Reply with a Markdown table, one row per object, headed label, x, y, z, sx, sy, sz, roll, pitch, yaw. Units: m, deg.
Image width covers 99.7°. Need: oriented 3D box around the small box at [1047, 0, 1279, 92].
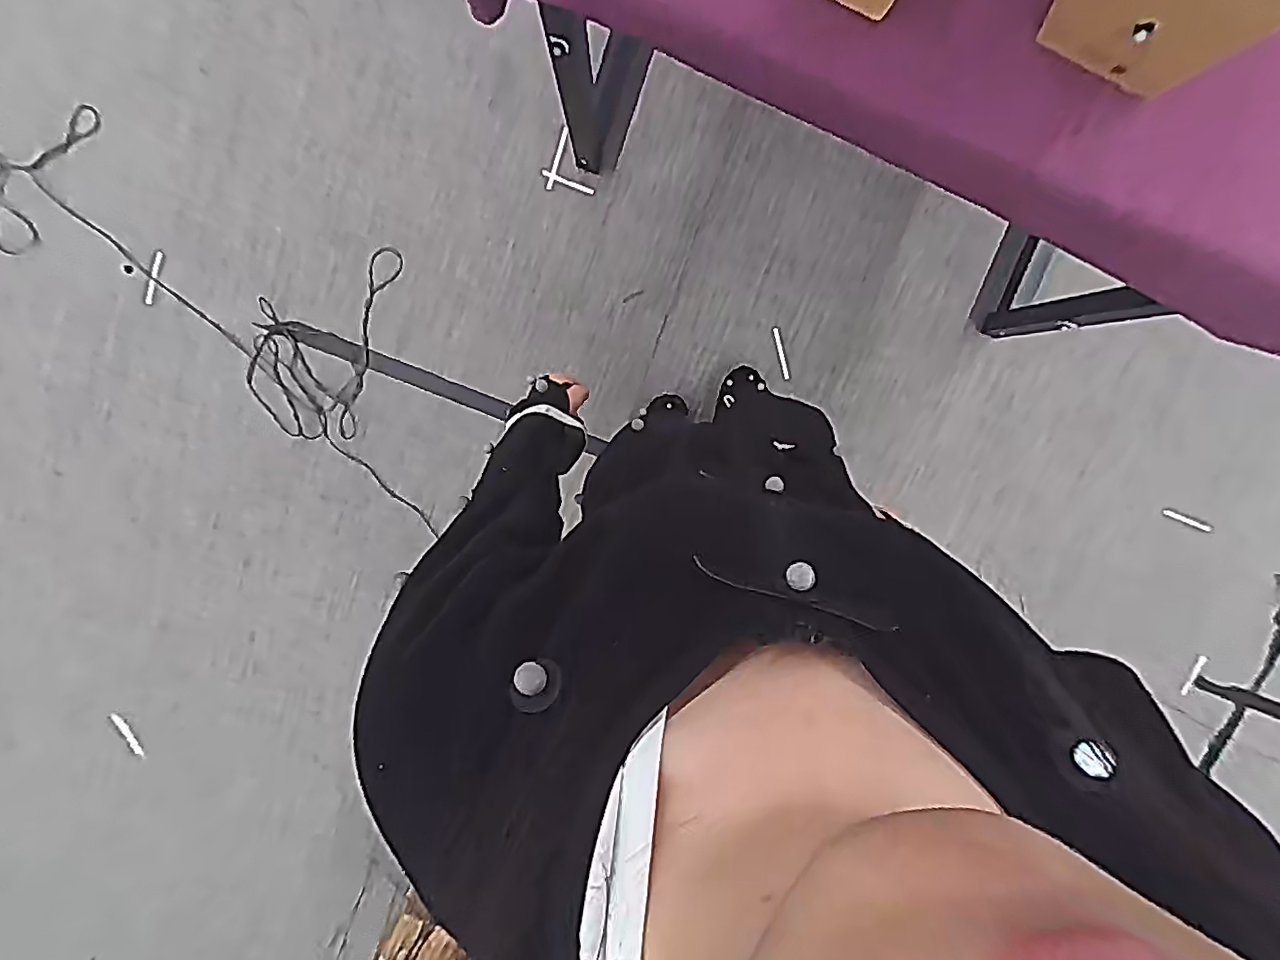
| label | x | y | z | sx | sy | sz | roll | pitch | yaw |
| --- | --- | --- | --- | --- | --- | --- | --- | --- | --- |
| small box | 0.597 | -0.575 | 0.585 | 0.168 | 0.176 | 0.179 | 23 | 98 | -6 |
